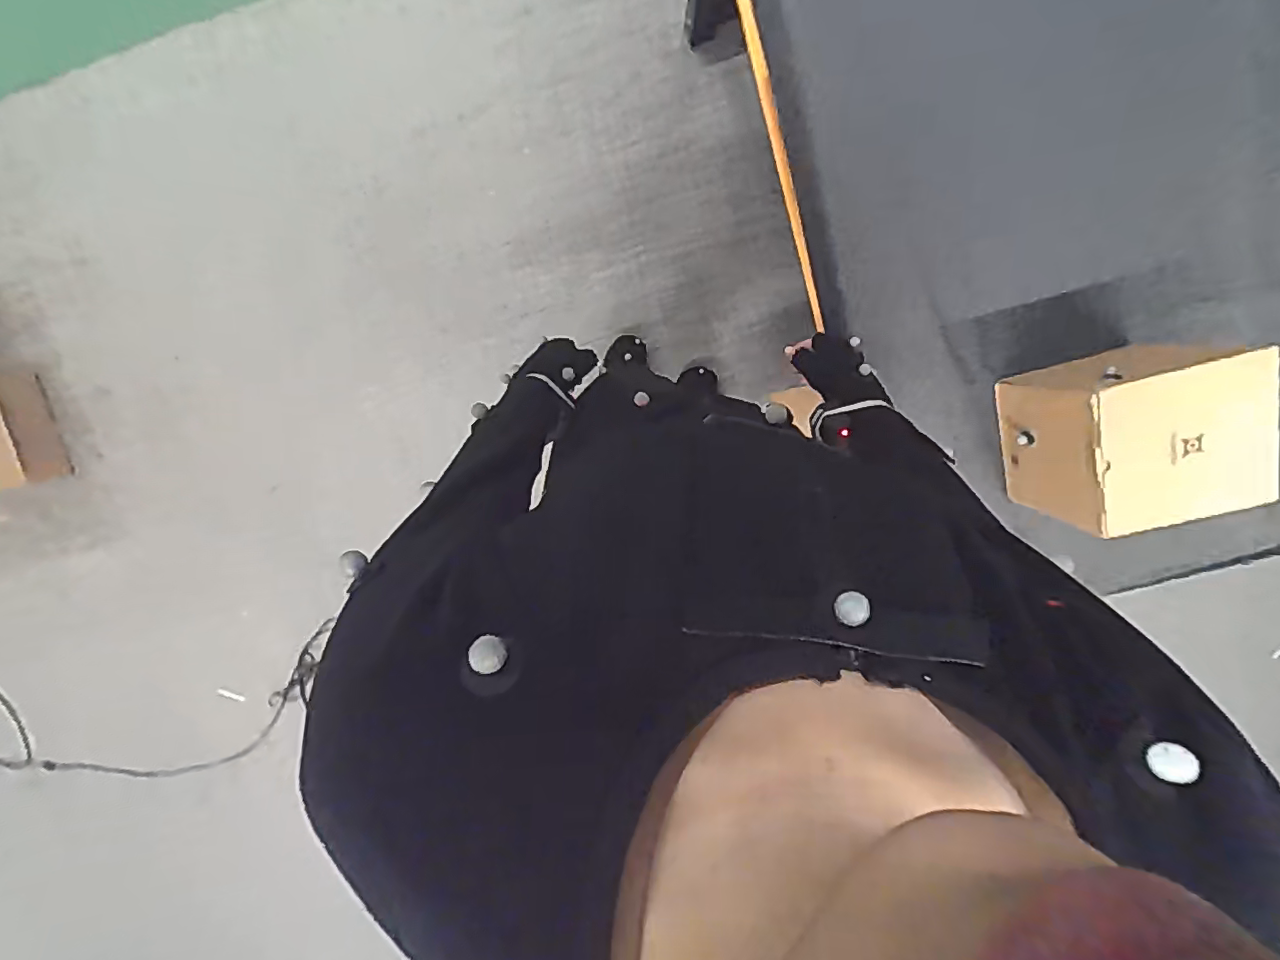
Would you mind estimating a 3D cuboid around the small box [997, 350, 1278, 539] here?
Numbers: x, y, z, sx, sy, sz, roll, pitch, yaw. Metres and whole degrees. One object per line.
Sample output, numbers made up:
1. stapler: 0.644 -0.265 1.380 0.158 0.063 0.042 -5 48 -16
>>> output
1. small box: 0.563 -0.052 0.633 0.179 0.176 0.168 -14 103 5
